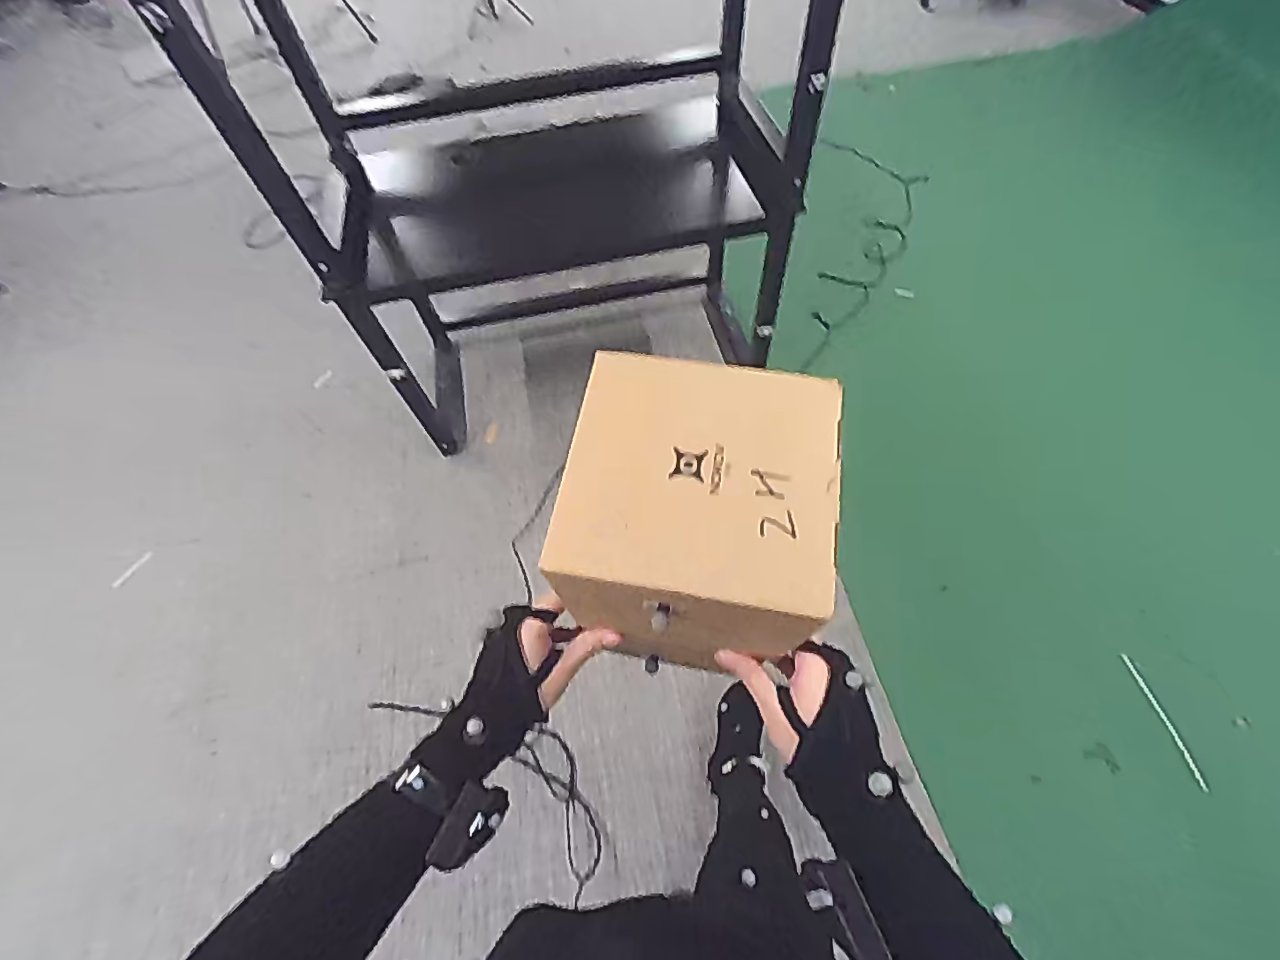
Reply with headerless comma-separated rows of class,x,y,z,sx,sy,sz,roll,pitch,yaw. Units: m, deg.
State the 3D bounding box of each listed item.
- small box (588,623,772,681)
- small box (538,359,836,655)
small box,0.047,0.100,0.570,0.168,0.176,0.179,8,64,6
small box,0.041,0.031,0.421,0.179,0.176,0.168,8,64,7
